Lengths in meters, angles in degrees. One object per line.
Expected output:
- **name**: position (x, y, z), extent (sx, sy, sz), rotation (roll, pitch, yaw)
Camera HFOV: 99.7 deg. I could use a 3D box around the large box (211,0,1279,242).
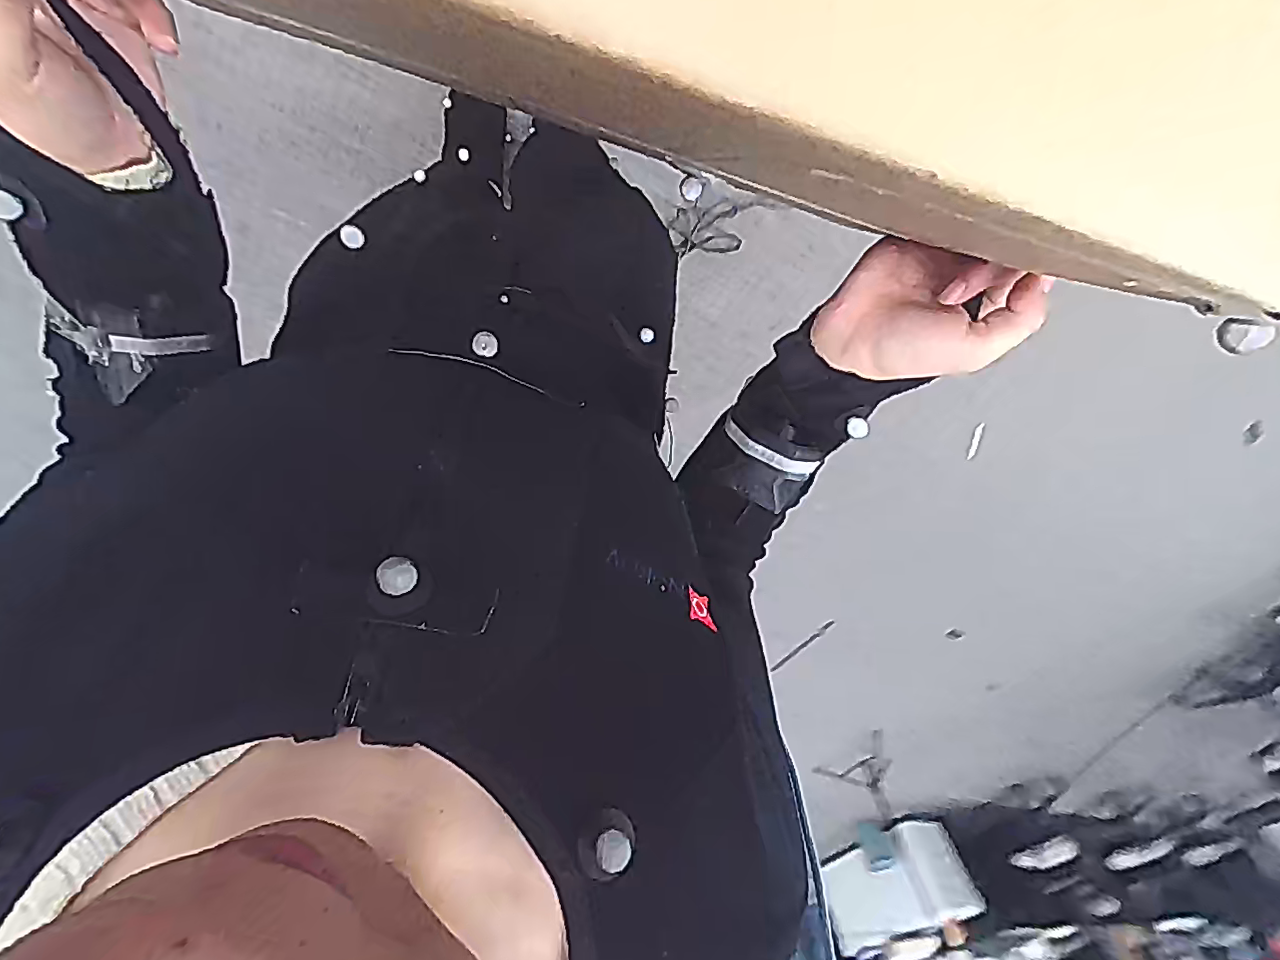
- **large box**: position (0.011, -0.295, 0.153), extent (0.408, 0.320, 0.320), rotation (9, 120, -13)
